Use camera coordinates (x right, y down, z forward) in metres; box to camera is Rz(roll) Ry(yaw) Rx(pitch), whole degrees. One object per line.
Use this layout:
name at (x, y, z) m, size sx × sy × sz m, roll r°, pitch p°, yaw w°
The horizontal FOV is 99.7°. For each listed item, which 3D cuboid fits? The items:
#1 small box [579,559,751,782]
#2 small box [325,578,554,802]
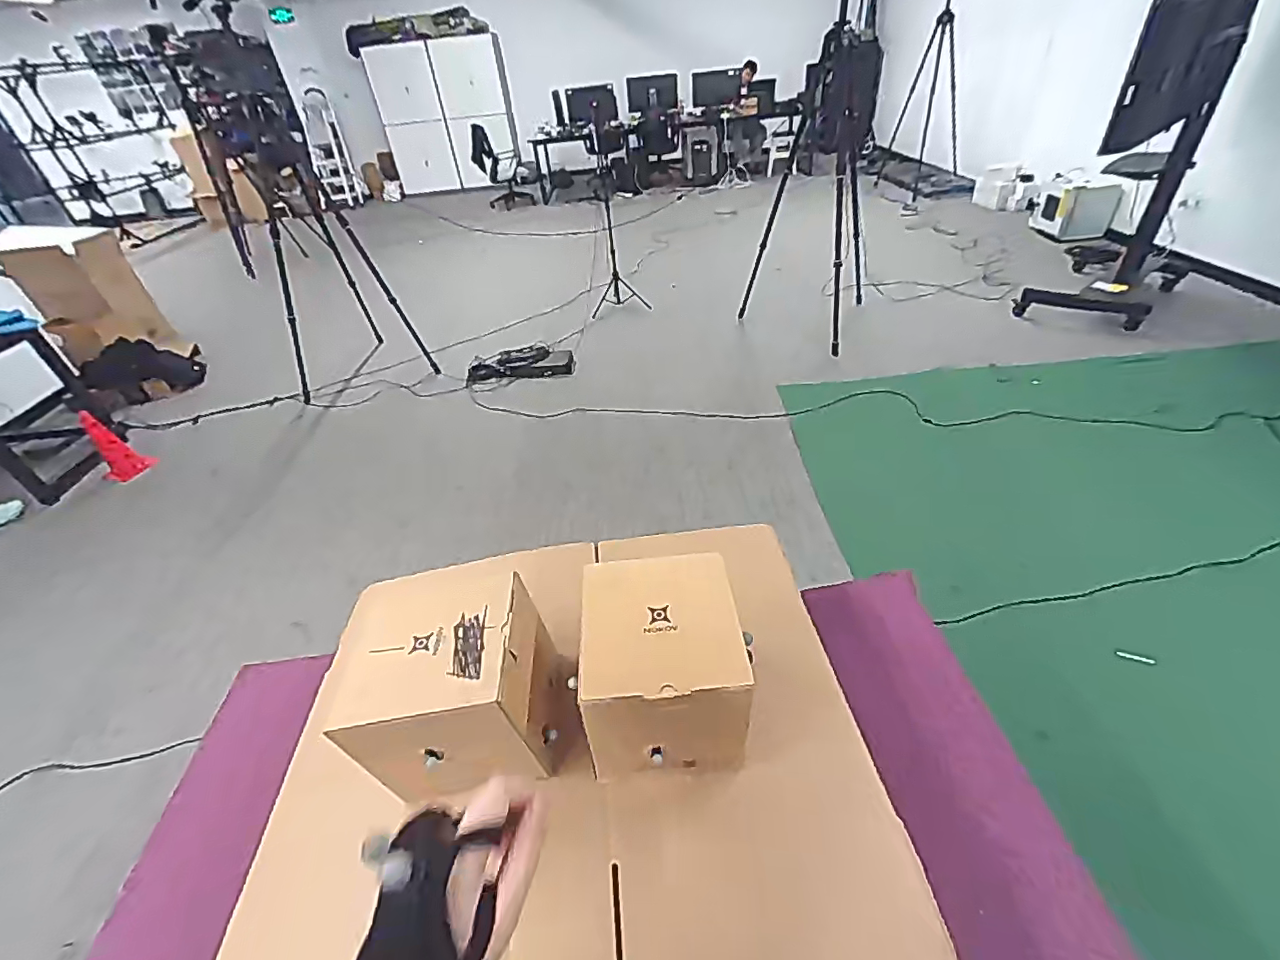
small box at (0.023, 0.216, 0.621) m, size 0.168 × 0.176 × 0.179 m, roll -5°, pitch 39°, yaw -1°
small box at (-0.206, 0.241, 0.620) m, size 0.179 × 0.176 × 0.168 m, roll -12°, pitch 38°, yaw 5°
